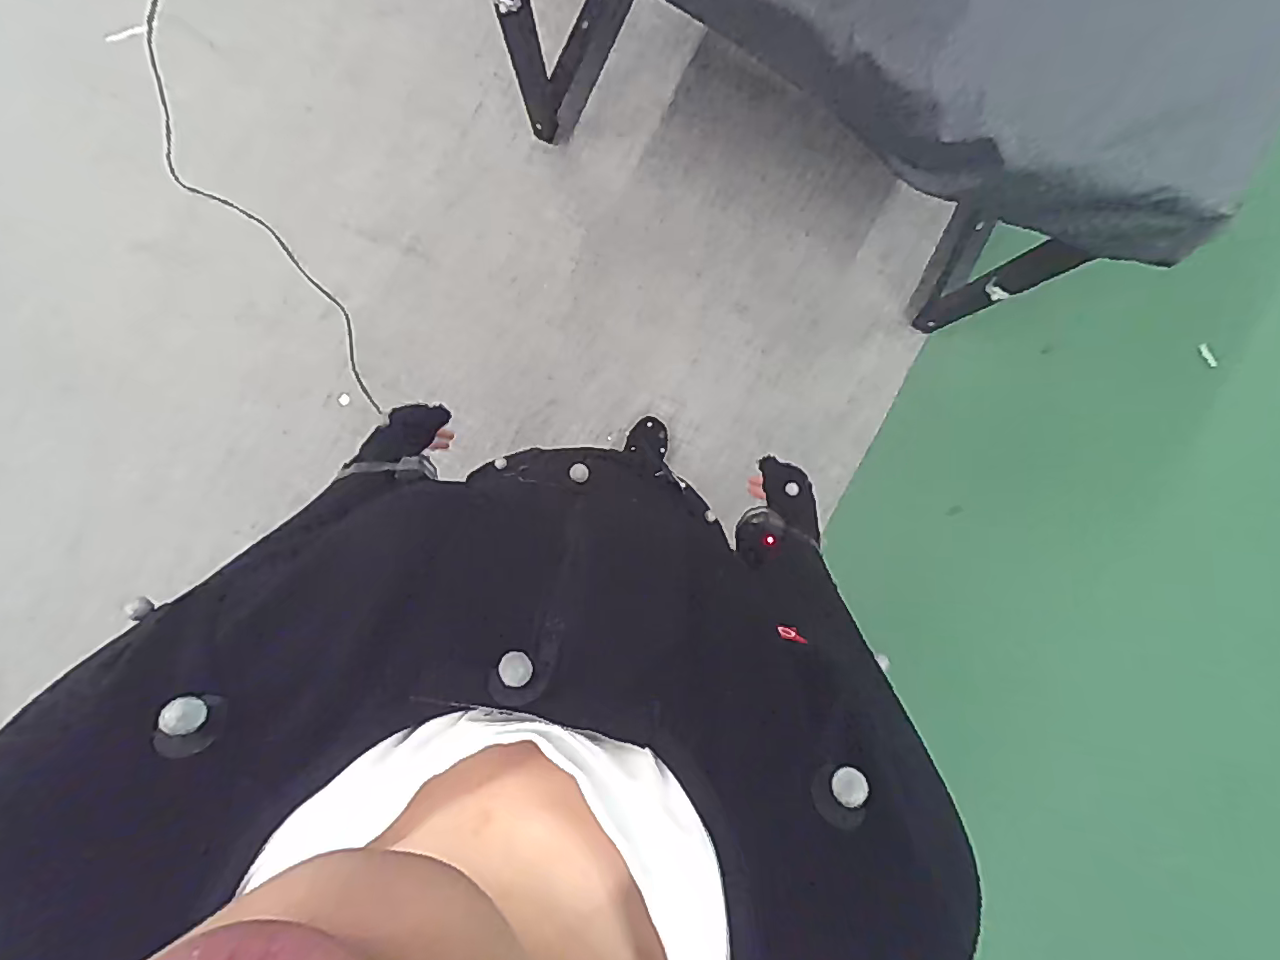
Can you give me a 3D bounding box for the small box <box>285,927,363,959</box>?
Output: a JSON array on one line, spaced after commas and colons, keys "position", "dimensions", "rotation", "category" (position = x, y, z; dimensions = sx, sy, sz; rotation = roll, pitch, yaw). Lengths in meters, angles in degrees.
[{"position": [-0.839, 1.289, 1.358], "dimensions": [0.179, 0.176, 0.168], "rotation": [28, 90, 1], "category": "small box"}]
